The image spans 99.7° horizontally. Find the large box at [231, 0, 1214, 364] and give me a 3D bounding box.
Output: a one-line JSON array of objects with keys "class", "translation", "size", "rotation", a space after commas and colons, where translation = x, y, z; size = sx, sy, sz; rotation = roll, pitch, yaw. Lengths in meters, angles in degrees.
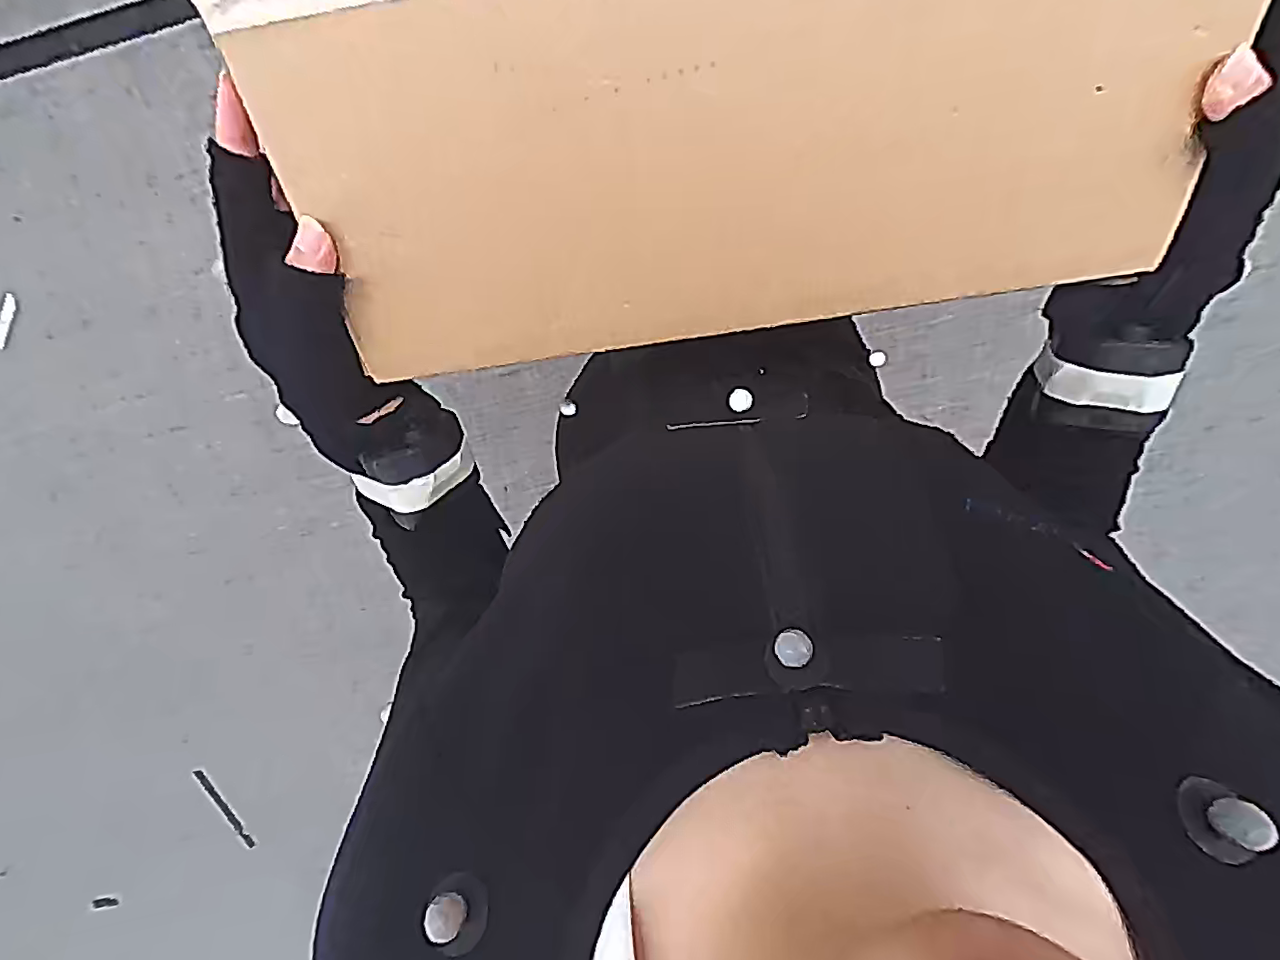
[{"class": "large box", "translation": [0.026, -0.299, 0.327], "size": [0.408, 0.320, 0.320], "rotation": [-8, 125, 3]}]
